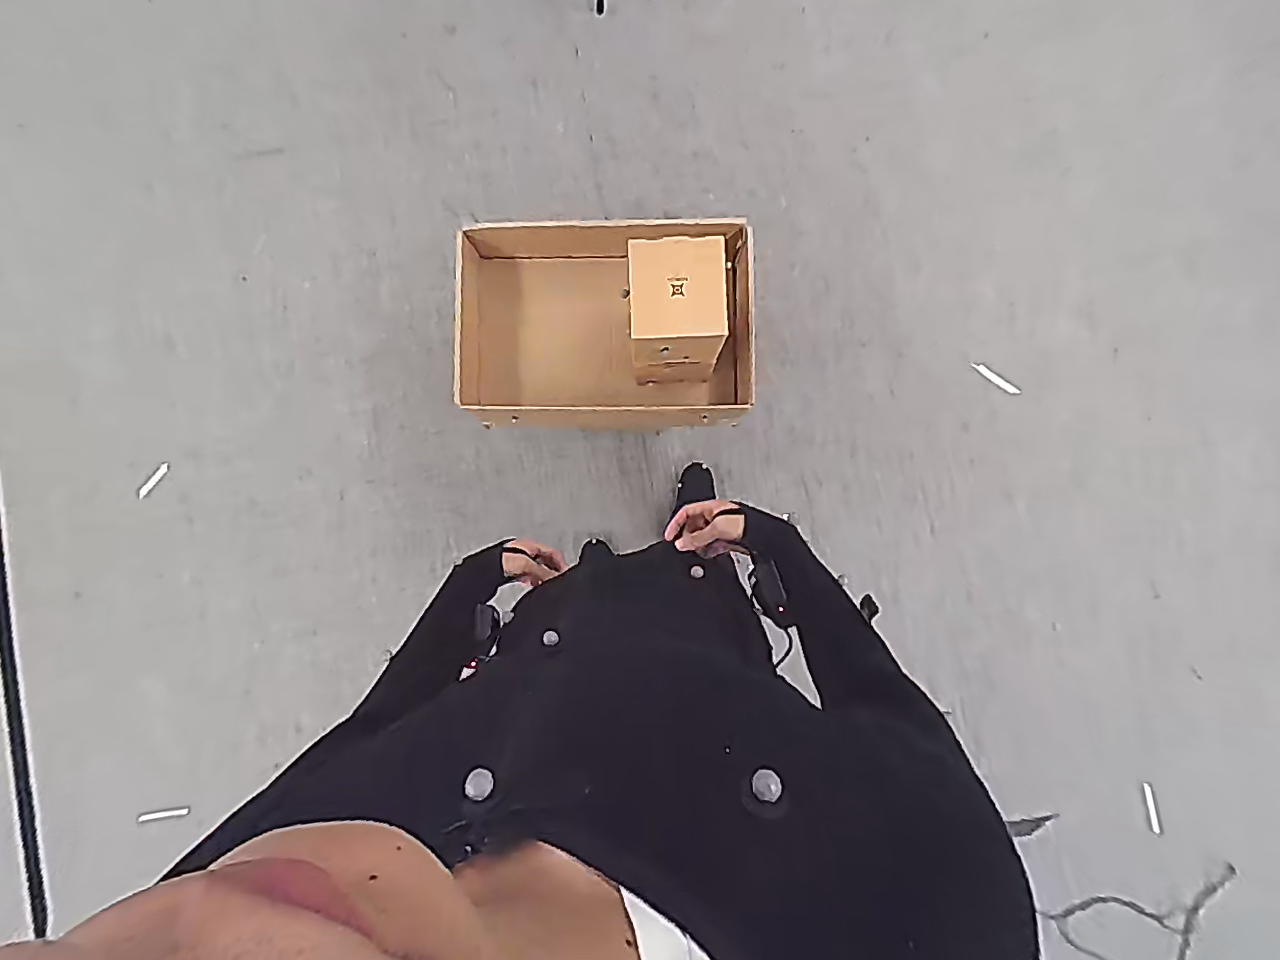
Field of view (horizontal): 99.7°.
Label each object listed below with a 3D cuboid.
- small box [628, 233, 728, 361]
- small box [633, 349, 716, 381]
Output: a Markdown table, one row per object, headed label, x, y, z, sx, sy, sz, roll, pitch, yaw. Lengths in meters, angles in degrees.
| label | x | y | z | sx | sy | sz | roll | pitch | yaw |
| --- | --- | --- | --- | --- | --- | --- | --- | --- | --- |
| small box | 0.066 | -0.320 | 0.981 | 0.168 | 0.176 | 0.179 | -2 | 86 | 1 |
| small box | 0.069 | -0.310 | 1.143 | 0.168 | 0.176 | 0.179 | -3 | 86 | 1 |
